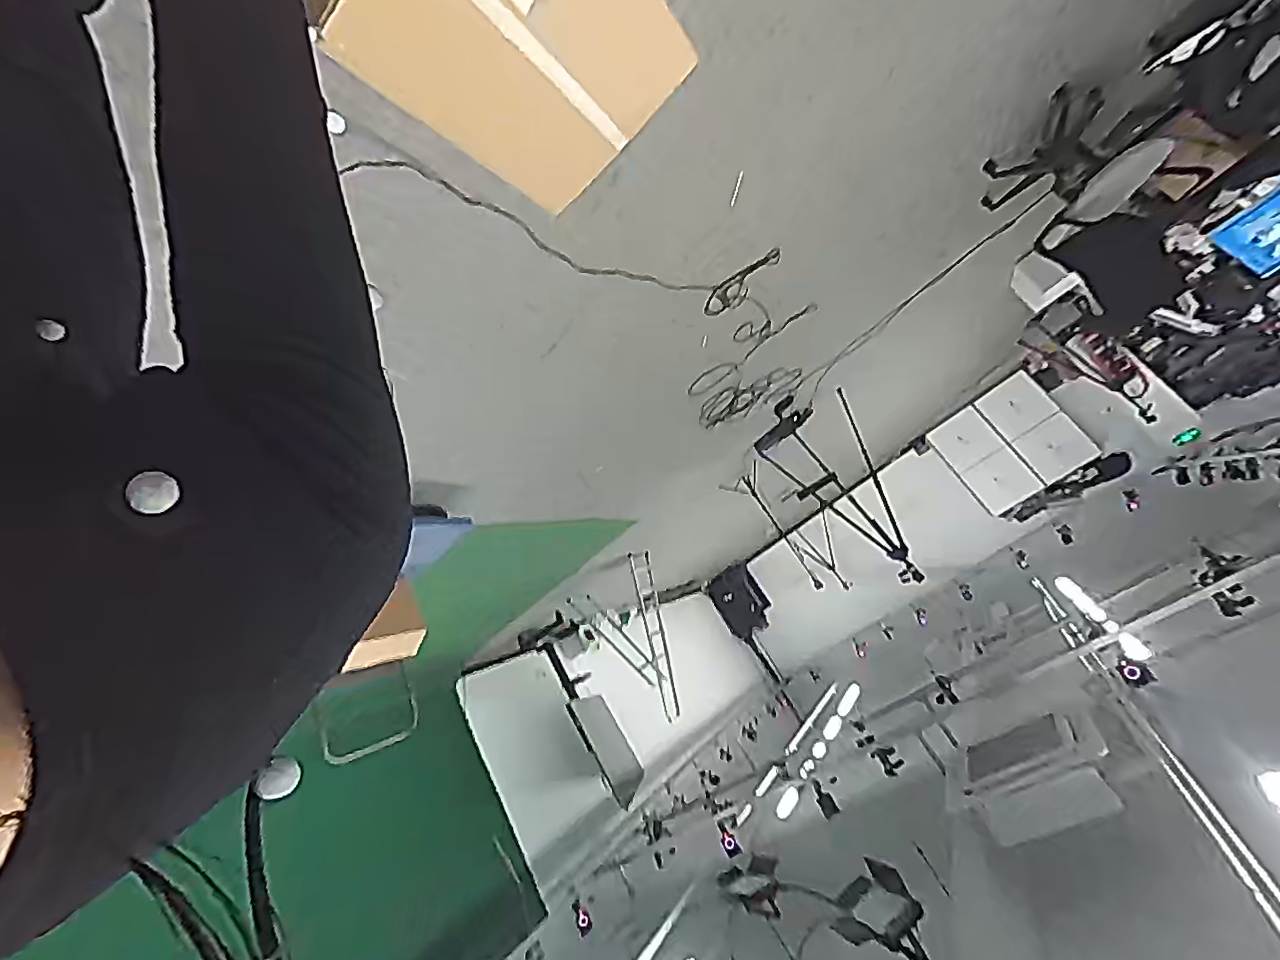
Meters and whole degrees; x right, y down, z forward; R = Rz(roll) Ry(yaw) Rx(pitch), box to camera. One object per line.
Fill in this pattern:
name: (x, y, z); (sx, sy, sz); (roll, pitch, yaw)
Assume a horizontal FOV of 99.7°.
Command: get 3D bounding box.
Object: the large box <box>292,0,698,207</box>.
large box: (-0.193, -0.657, 0.702); (0.320, 0.320, 0.408); (-36, 160, 25)
